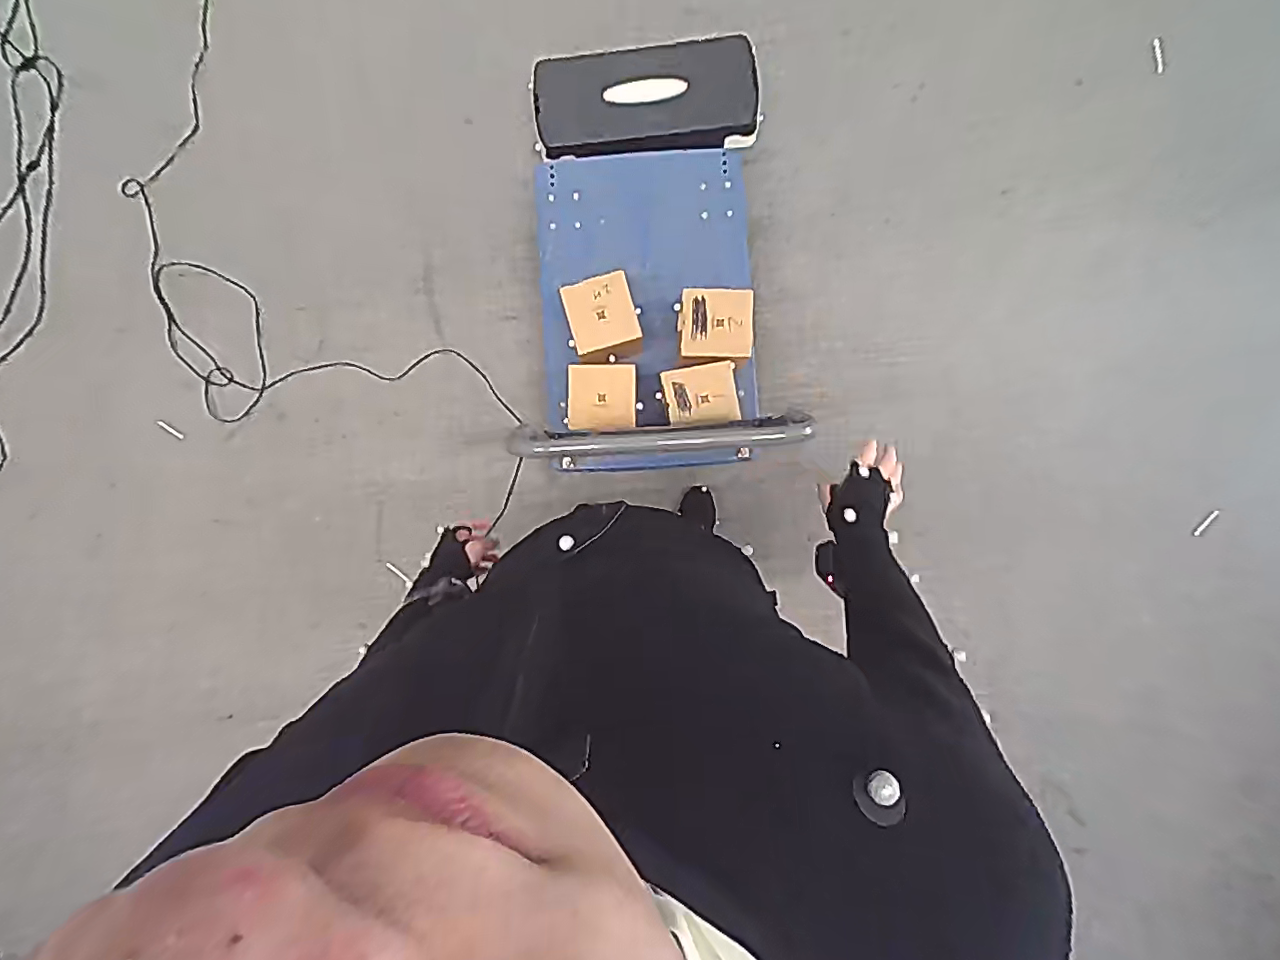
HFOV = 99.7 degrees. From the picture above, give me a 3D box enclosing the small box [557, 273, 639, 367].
[{"bbox_3d":[-0.102,-0.402,1.398,0.168,0.176,0.179,-16,88,0],"label":"small box"}]
